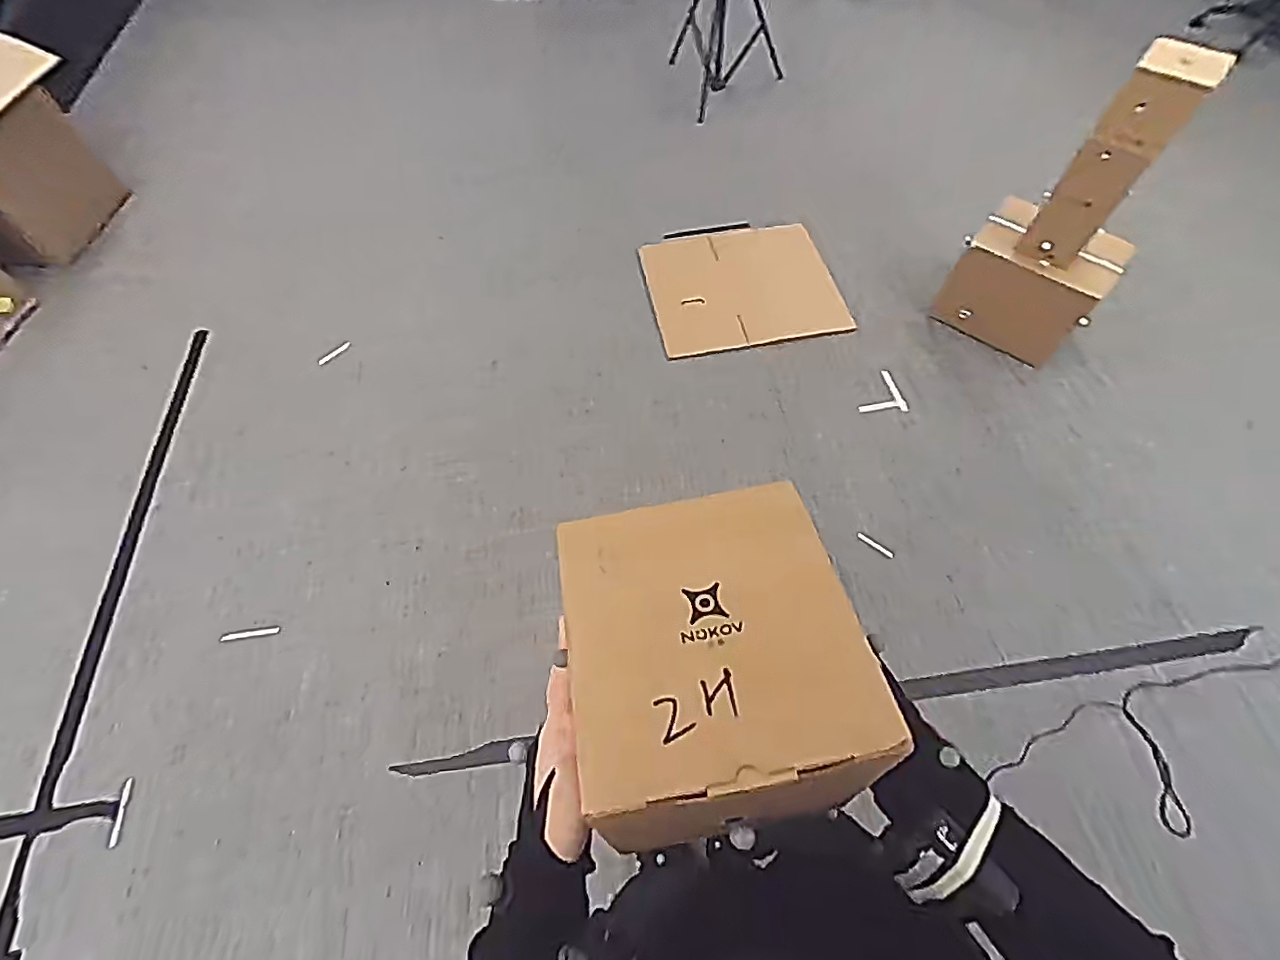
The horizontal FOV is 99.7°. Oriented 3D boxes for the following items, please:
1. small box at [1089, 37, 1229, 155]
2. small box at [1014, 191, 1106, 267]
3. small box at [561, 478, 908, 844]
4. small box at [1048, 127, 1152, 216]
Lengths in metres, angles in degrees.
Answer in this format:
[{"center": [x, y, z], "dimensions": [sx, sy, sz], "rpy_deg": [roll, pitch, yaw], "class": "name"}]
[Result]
[{"center": [1.259, -0.936, 1.325], "dimensions": [0.168, 0.176, 0.179], "rpy_deg": [35, 67, 20], "class": "small box"}, {"center": [1.266, -0.778, 1.612], "dimensions": [0.168, 0.176, 0.179], "rpy_deg": [36, 68, 20], "class": "small box"}, {"center": [0.044, 0.127, 0.374], "dimensions": [0.168, 0.176, 0.179], "rpy_deg": [-10, 51, -2], "class": "small box"}, {"center": [1.263, -0.860, 1.470], "dimensions": [0.168, 0.176, 0.179], "rpy_deg": [36, 67, 20], "class": "small box"}]
